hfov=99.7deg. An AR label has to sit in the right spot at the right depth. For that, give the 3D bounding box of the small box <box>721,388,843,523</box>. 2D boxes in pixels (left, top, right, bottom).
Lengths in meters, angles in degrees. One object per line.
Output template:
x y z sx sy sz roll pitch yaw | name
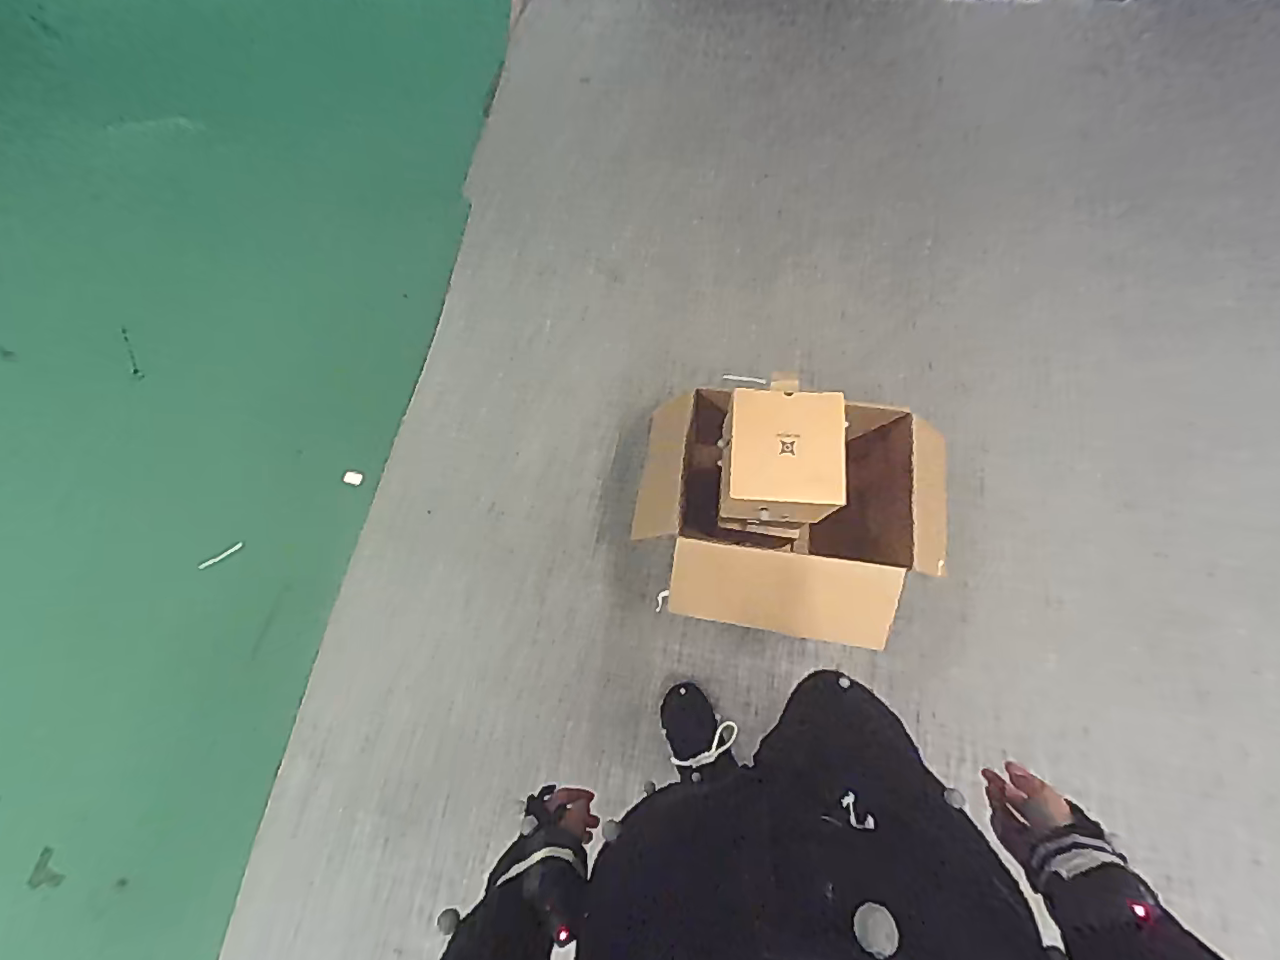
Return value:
0.220 -0.032 0.868 0.168 0.176 0.179 3 75 5 | small box

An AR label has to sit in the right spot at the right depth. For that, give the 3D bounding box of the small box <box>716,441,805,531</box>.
0.237 -0.008 1.028 0.168 0.176 0.179 6 77 5 | small box
